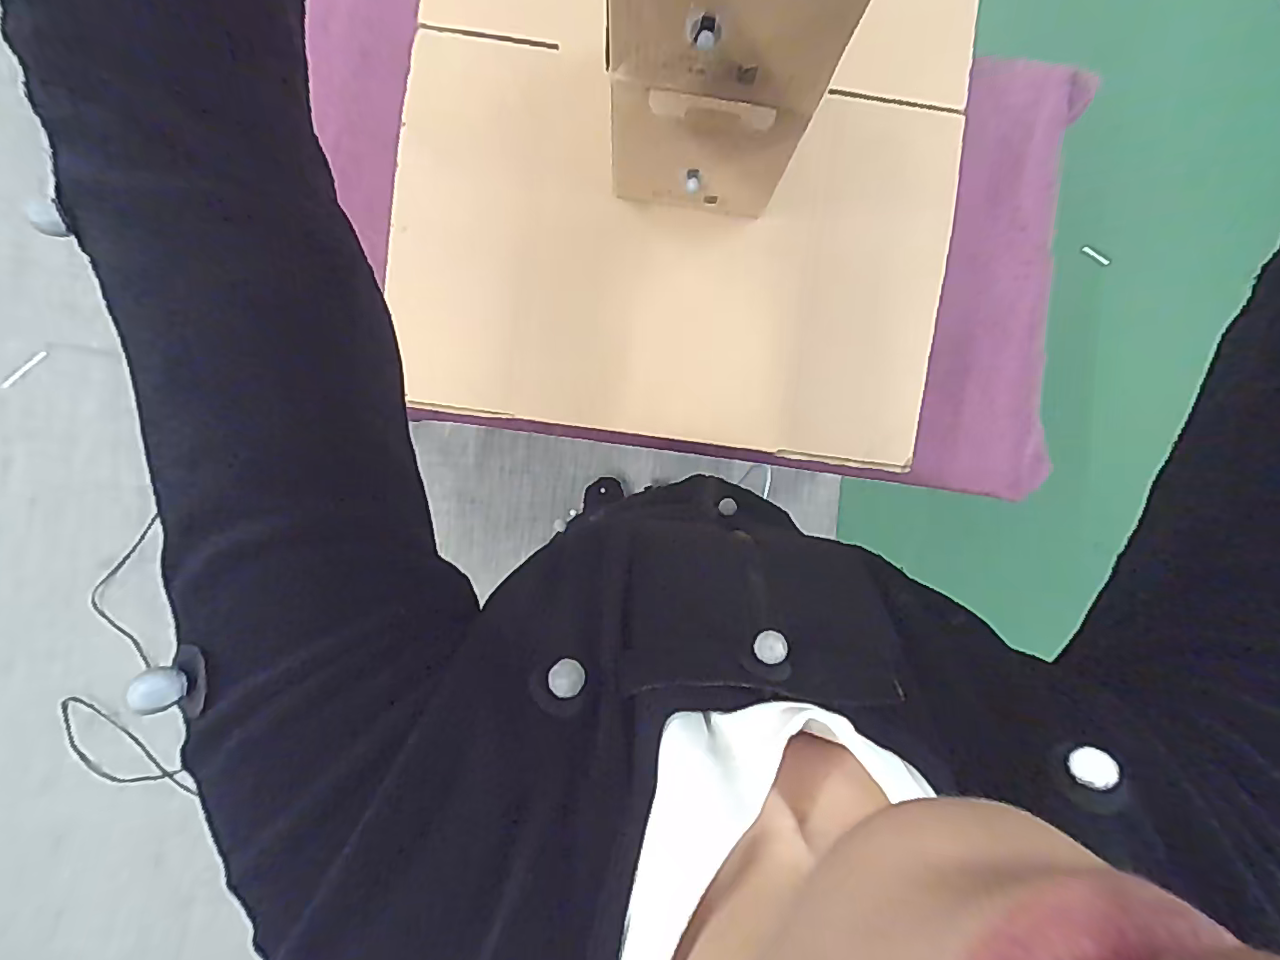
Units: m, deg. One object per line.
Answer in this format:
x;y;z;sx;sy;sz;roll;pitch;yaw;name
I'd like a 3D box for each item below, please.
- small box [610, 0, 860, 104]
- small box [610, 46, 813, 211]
0.069;-0.394;0.346;0.168;0.176;0.179;8;89;-2;small box
0.064;-0.390;0.509;0.168;0.176;0.179;8;88;-1;small box
